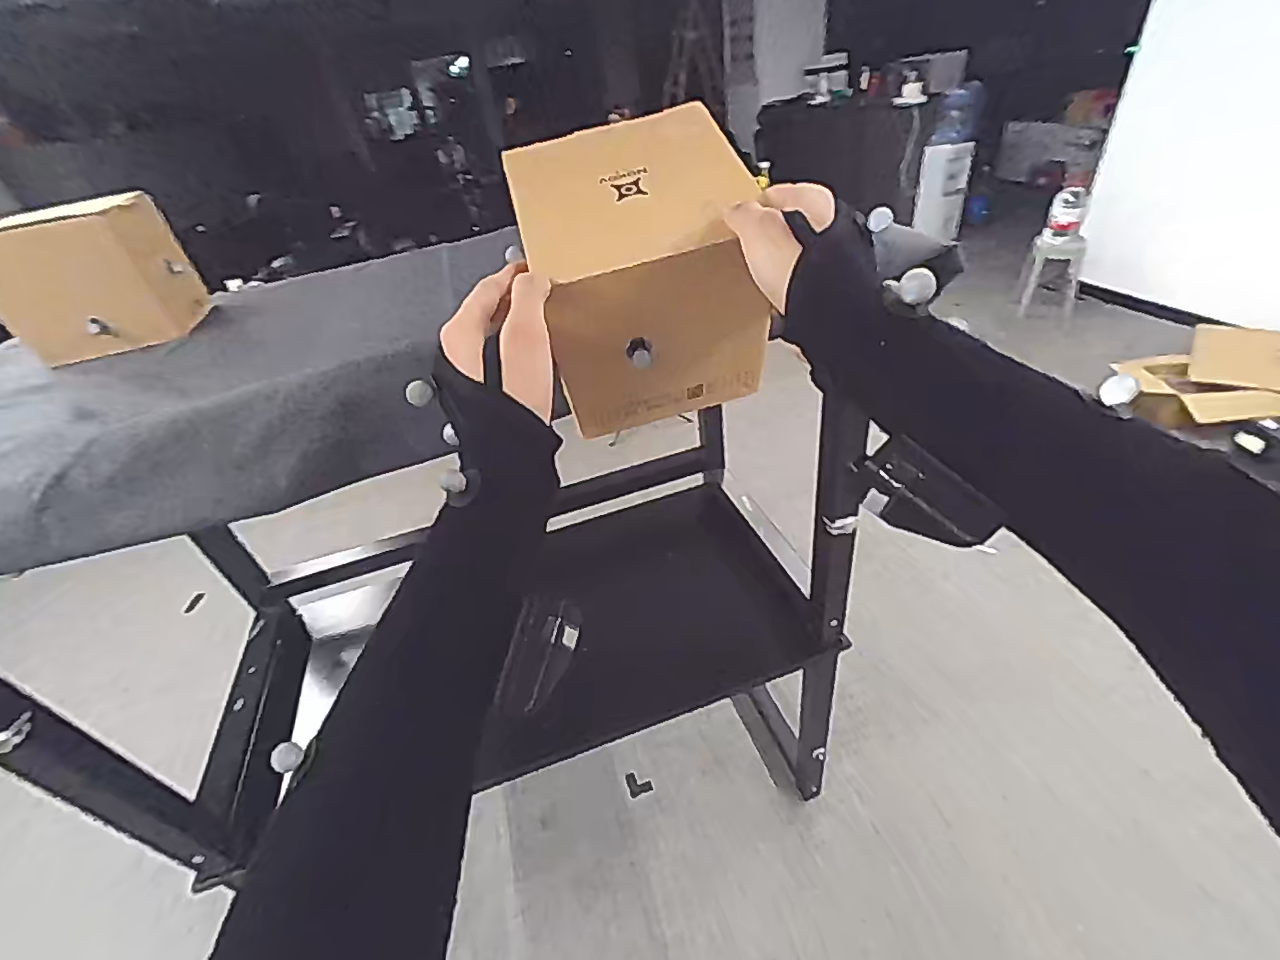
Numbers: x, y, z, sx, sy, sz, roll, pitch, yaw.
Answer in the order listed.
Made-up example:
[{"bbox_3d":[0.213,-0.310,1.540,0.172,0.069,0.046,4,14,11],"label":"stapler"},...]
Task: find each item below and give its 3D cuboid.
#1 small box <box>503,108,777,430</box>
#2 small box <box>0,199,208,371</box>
[{"bbox_3d":[0.000,-0.161,0.450,0.168,0.176,0.179,-16,58,-2],"label":"small box"},{"bbox_3d":[-0.758,-0.274,0.753,0.179,0.176,0.168,-18,38,-12],"label":"small box"}]
